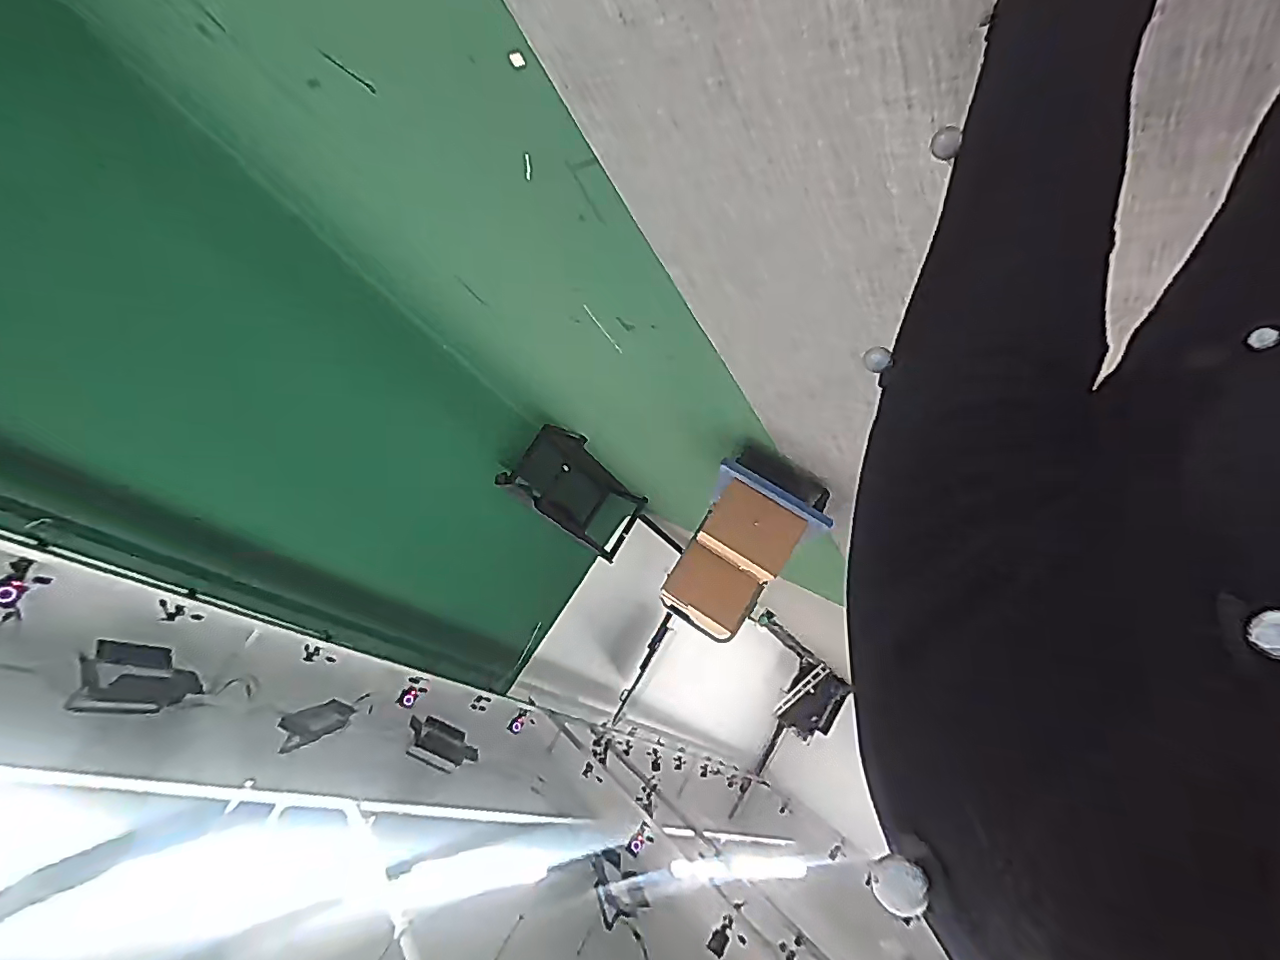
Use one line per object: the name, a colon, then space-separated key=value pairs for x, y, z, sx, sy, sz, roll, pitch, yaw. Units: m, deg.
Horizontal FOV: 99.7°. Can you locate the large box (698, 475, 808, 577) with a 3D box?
large box: x=0.538 y=0.228 z=2.640 sx=0.408 sy=0.320 sz=0.320 roll=31 pitch=170 yaw=8
